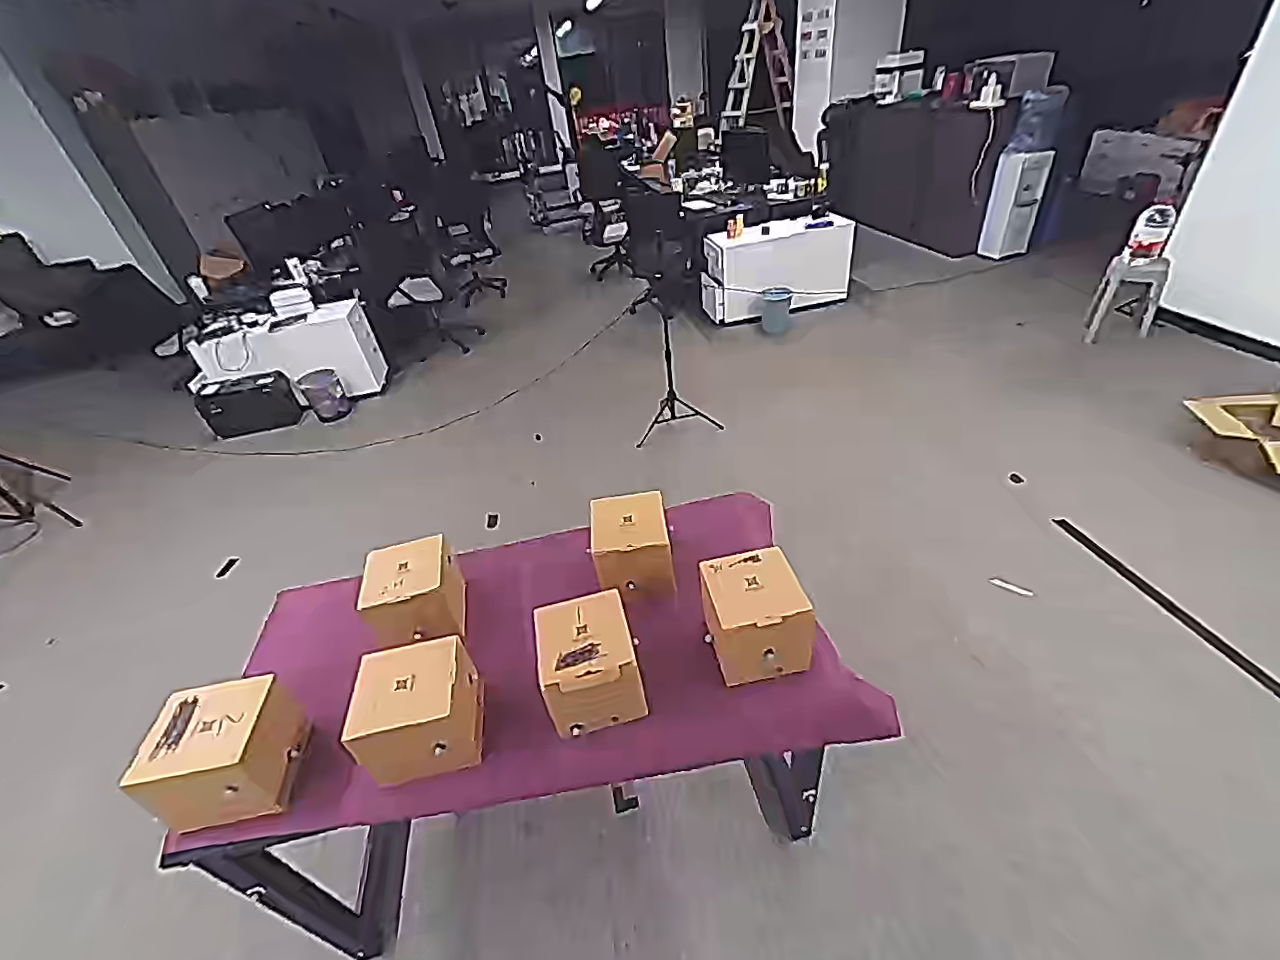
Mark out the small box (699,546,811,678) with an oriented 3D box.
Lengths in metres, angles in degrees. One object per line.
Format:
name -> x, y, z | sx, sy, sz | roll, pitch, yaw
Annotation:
small box -> 0.218, 0.260, 1.045 | 0.168, 0.176, 0.179 | -11, 35, -2

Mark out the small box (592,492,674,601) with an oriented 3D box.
small box -> -0.017, 0.154, 1.241 | 0.168, 0.176, 0.179 | -9, 38, 1

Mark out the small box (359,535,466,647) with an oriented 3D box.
small box -> -0.493, 0.254, 1.200 | 0.168, 0.176, 0.179 | -14, 37, -7

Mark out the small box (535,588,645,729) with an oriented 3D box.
small box -> -0.093, 0.337, 1.006 | 0.168, 0.176, 0.179 | -13, 36, -6

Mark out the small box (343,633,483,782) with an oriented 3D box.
small box -> -0.391, 0.408, 0.971 | 0.179, 0.176, 0.168 | -12, 37, -5
